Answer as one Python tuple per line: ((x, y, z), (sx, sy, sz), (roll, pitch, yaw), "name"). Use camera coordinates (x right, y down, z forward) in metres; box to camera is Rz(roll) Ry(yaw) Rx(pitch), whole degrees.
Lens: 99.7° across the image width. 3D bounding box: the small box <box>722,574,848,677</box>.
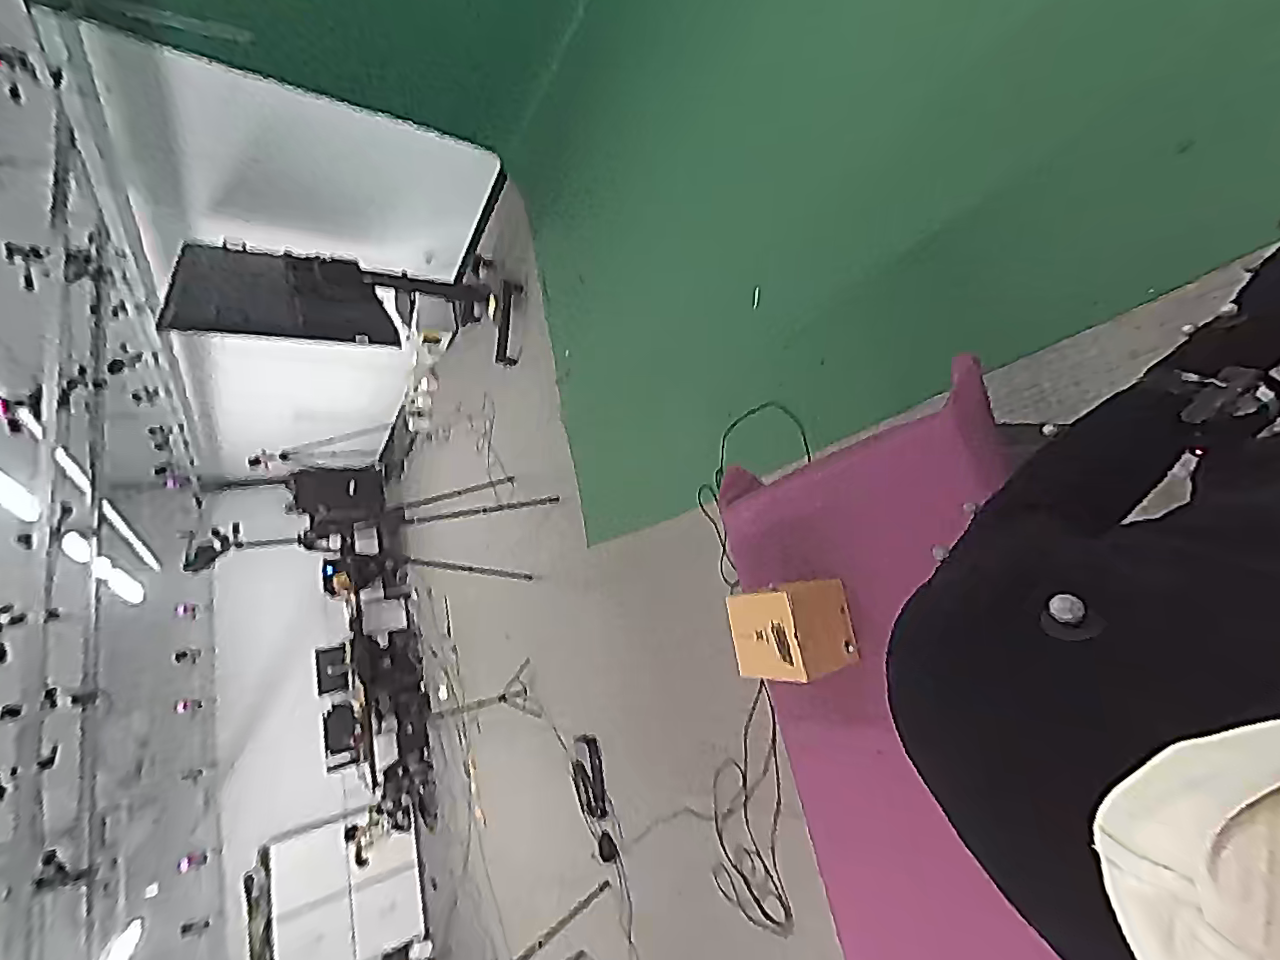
((0.300, 0.291, 1.102), (0.179, 0.176, 0.168), (-22, 75, 54), "small box")
